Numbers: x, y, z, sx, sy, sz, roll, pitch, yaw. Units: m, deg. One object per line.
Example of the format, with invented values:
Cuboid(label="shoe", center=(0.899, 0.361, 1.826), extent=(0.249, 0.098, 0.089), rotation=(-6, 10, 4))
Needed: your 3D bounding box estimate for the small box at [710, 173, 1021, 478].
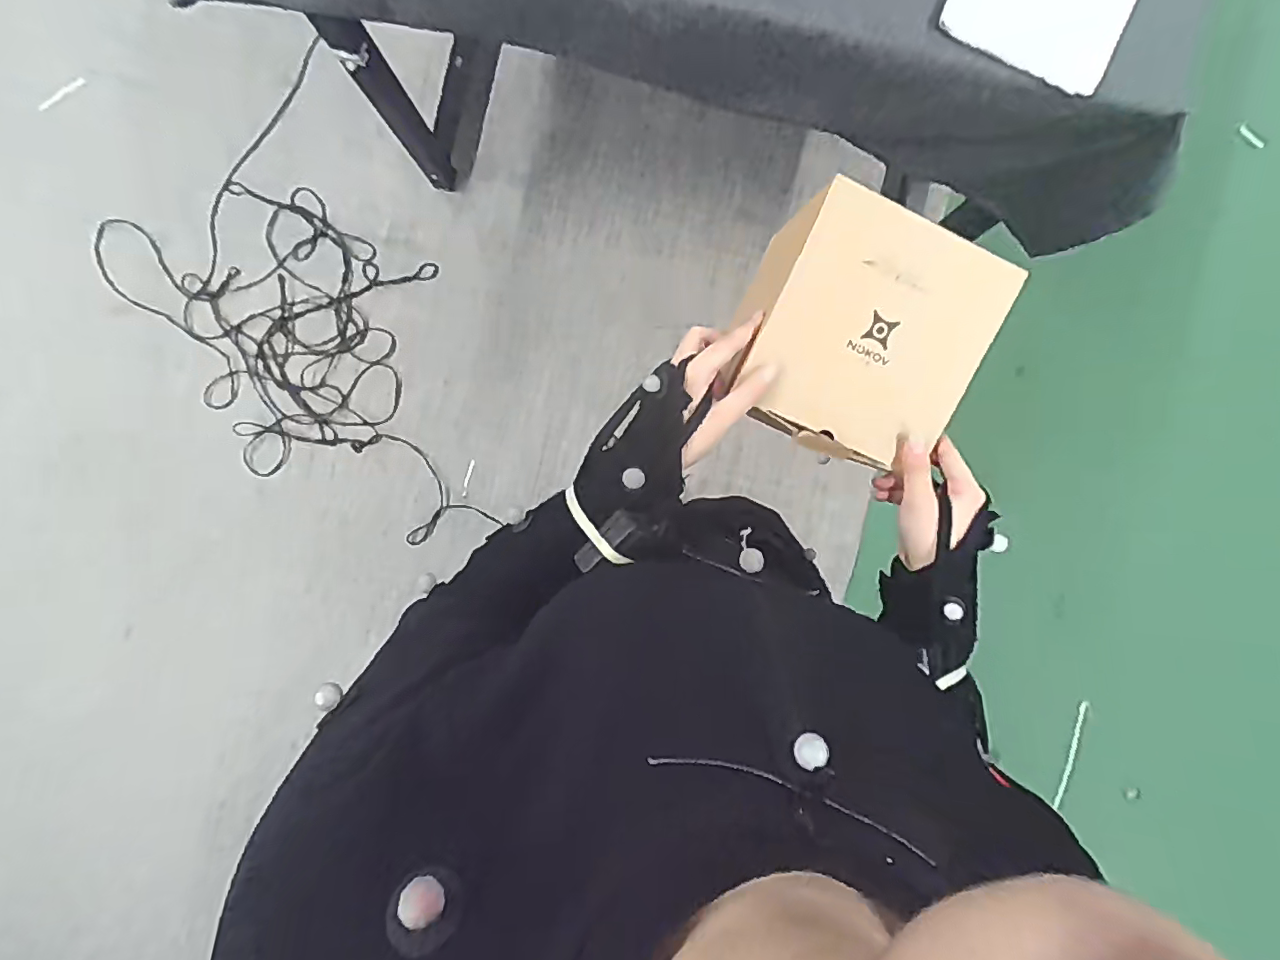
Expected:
Cuboid(label="small box", center=(0.173, -0.123, 0.483), extent=(0.168, 0.176, 0.179), rotation=(23, 97, -6))
